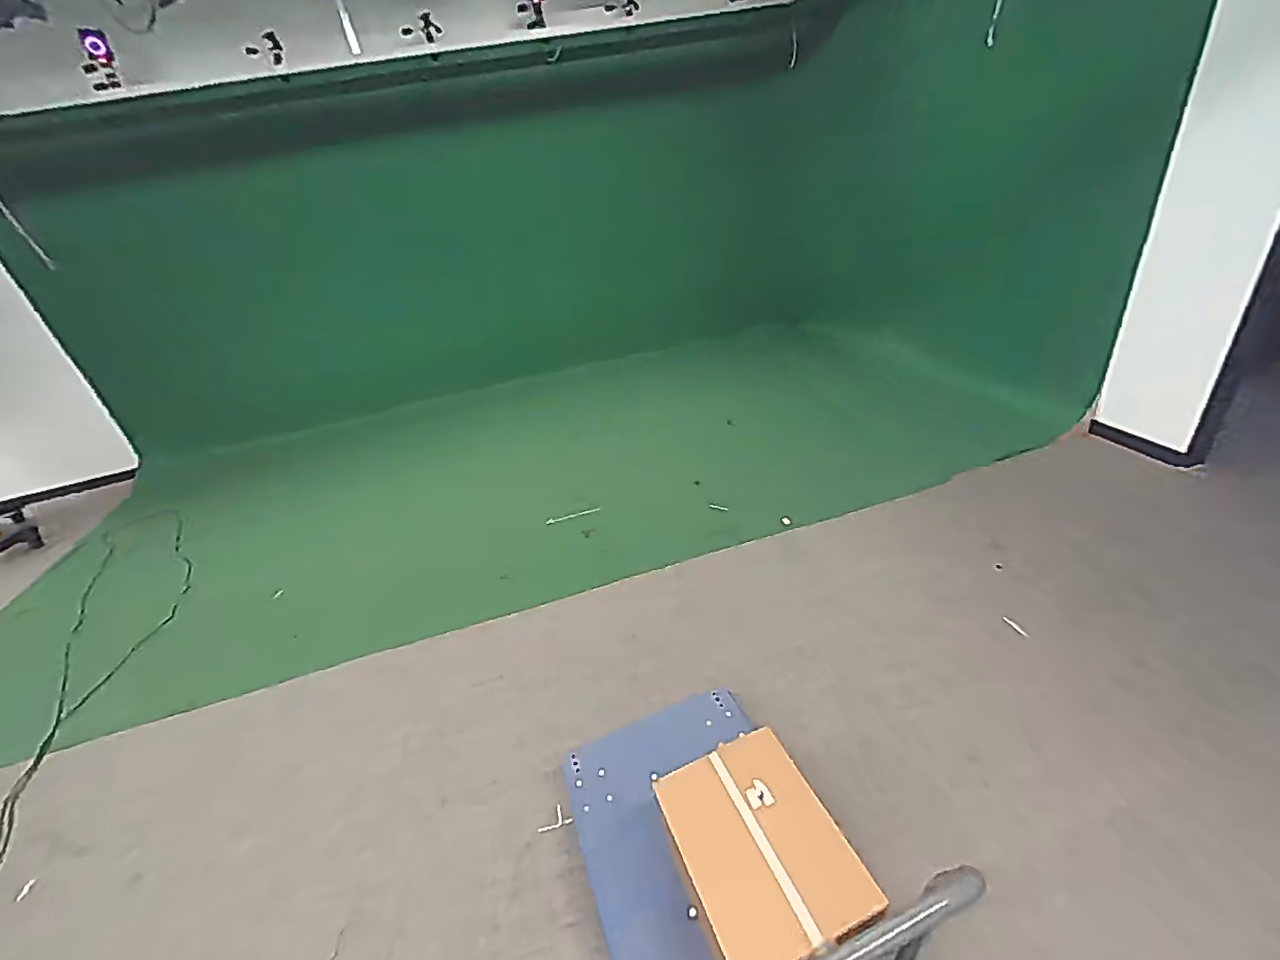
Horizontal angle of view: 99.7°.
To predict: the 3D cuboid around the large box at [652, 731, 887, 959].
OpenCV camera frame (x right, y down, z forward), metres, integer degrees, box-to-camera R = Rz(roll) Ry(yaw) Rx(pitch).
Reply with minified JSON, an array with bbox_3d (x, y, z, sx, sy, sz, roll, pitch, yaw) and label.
[{"bbox_3d":[0.264,0.860,1.177,0.320,0.320,0.408,-18,31,-15],"label":"large box"}]
